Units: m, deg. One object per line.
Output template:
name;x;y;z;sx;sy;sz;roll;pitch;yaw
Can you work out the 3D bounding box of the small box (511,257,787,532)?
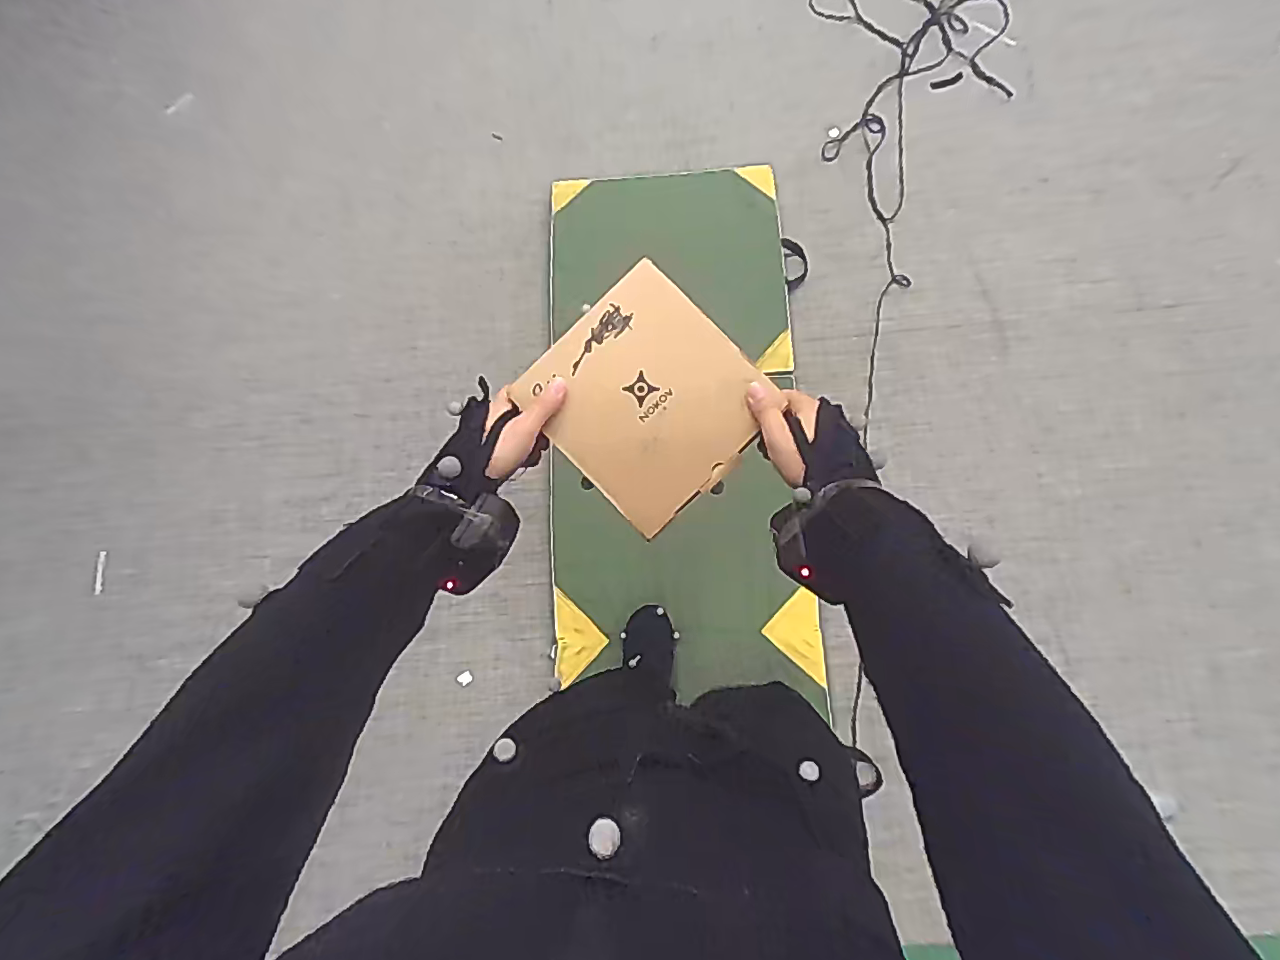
small box;0.009;-0.071;0.531;0.168;0.176;0.179;-43;88;-1
